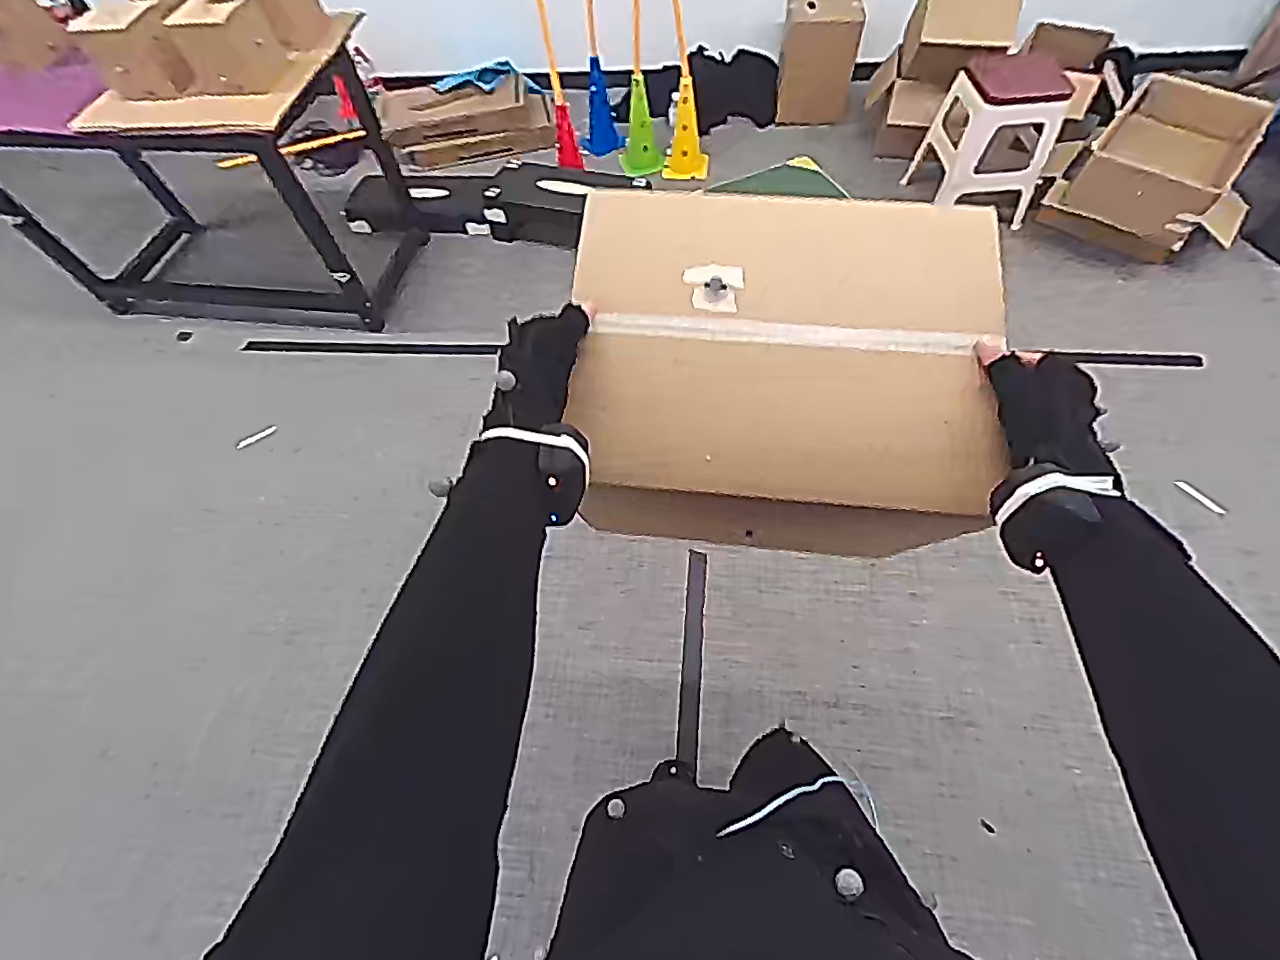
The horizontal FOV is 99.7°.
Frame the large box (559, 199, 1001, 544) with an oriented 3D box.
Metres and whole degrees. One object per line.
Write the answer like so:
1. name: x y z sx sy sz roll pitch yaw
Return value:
1. large box: 0.147 -0.103 0.667 0.408 0.320 0.320 5 76 6
